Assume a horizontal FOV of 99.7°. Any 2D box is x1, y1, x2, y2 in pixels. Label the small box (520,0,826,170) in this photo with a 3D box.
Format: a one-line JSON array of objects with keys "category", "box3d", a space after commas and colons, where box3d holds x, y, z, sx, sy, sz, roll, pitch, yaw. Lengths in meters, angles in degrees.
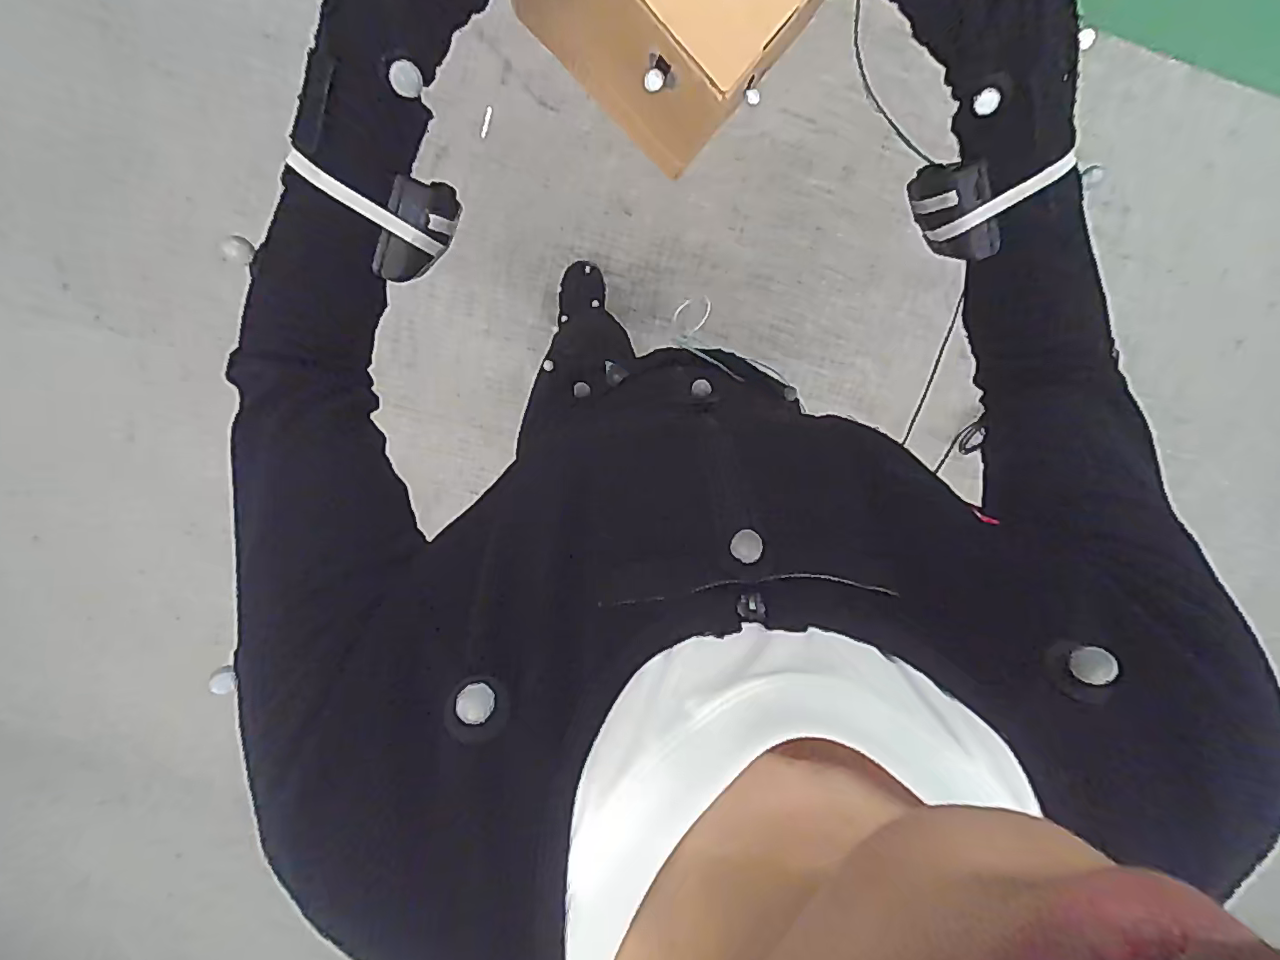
[{"category": "small box", "box3d": [0.028, -0.350, 0.360, 0.179, 0.176, 0.168, 41, 96, -16]}]
